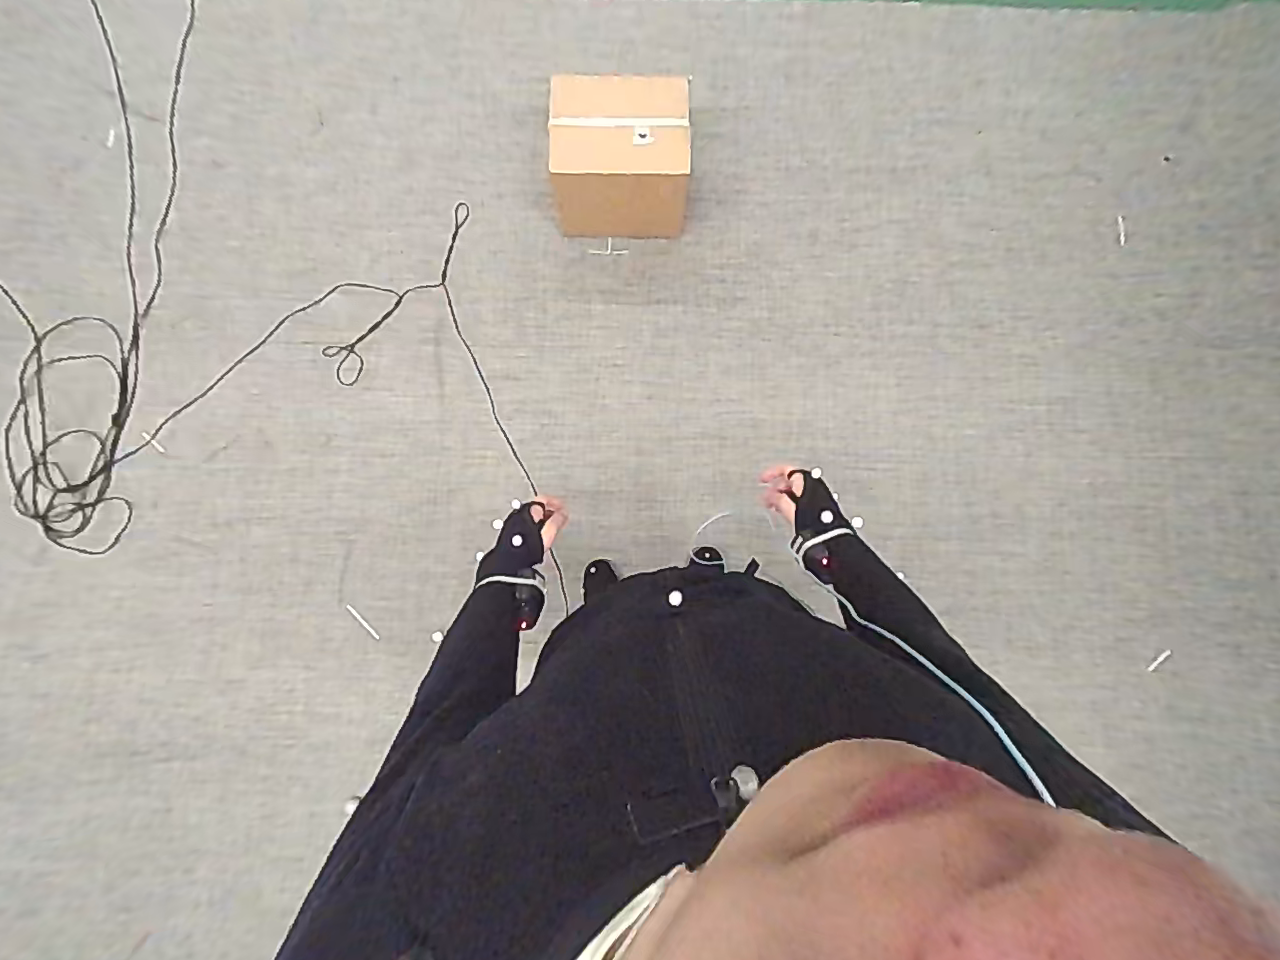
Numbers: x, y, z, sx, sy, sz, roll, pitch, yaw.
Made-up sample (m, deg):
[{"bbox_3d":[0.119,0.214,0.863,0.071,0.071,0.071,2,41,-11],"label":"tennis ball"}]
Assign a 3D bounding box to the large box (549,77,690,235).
[{"bbox_3d":[-0.066,-1.001,1.699,0.408,0.320,0.320,-1,82,-1],"label":"large box"}]
